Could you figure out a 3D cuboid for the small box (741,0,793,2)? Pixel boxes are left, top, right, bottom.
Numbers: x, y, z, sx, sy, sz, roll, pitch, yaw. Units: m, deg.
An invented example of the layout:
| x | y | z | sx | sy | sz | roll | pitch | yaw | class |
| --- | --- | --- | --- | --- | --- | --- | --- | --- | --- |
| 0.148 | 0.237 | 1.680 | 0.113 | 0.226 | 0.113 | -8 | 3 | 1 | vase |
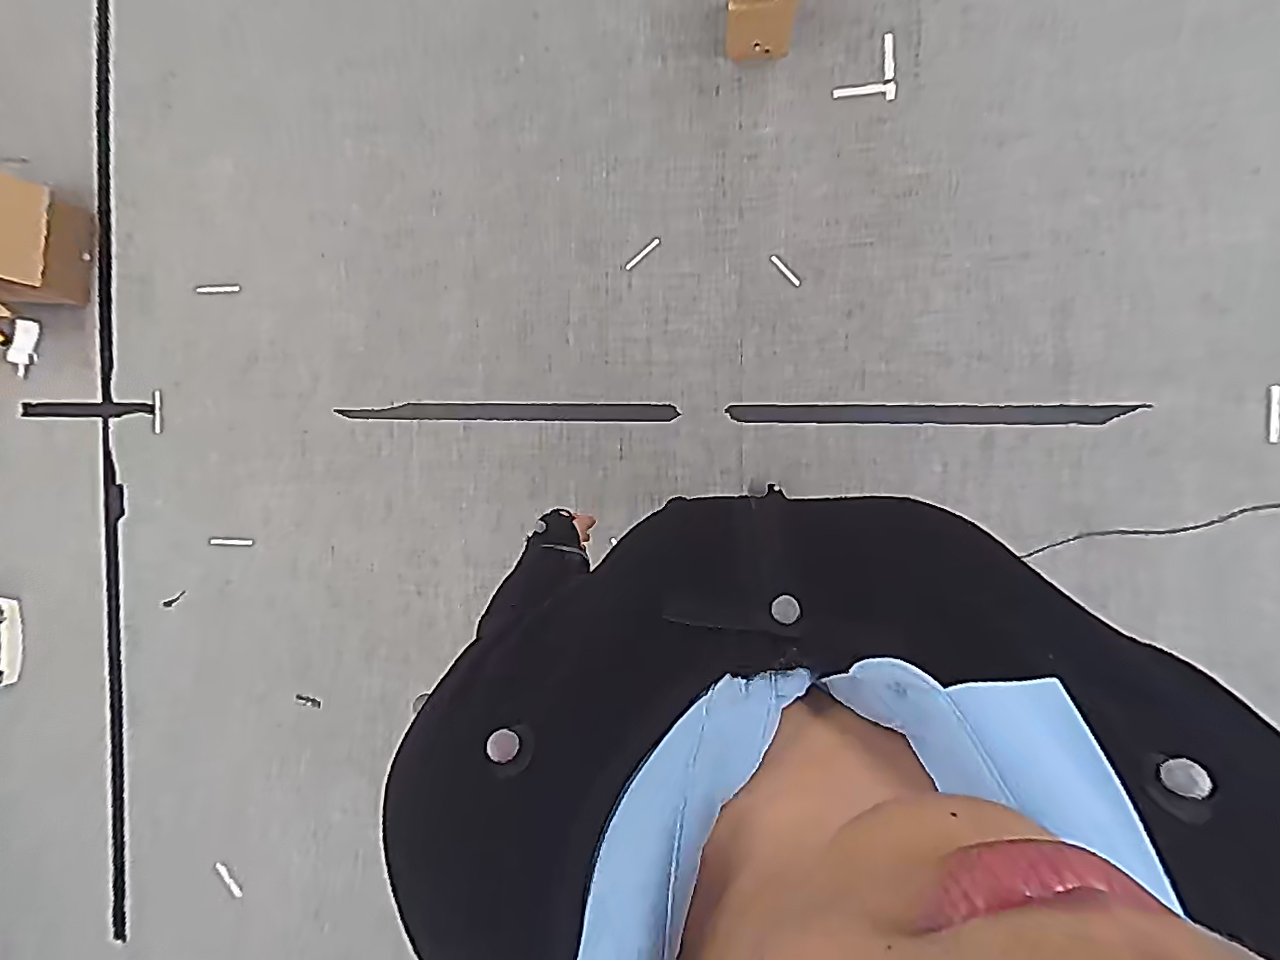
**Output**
| x | y | z | sx | sy | sz | roll | pitch | yaw | class |
| --- | --- | --- | --- | --- | --- | --- | --- | --- | --- |
| 0.304 | -1.240 | 1.220 | 0.168 | 0.176 | 0.179 | 5 | 92 | 9 | small box |
